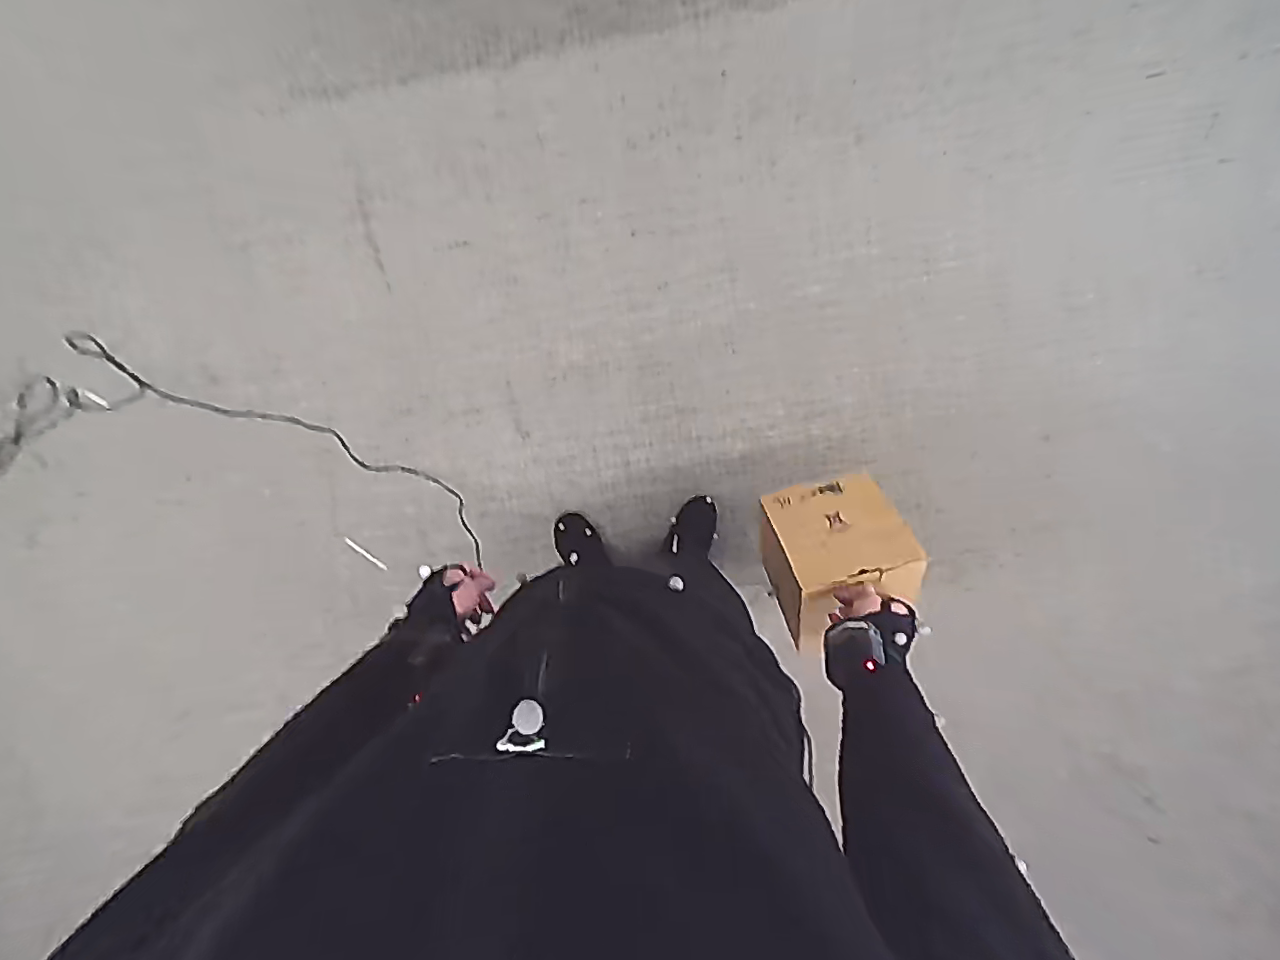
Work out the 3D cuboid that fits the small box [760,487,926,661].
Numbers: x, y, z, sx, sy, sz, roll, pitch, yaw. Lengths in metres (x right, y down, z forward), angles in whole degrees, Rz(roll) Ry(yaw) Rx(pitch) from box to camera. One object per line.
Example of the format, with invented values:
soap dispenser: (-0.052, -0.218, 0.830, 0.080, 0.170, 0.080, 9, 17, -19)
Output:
small box: (0.291, 0.144, 0.797, 0.168, 0.179, 0.176, -16, 128, 0)
